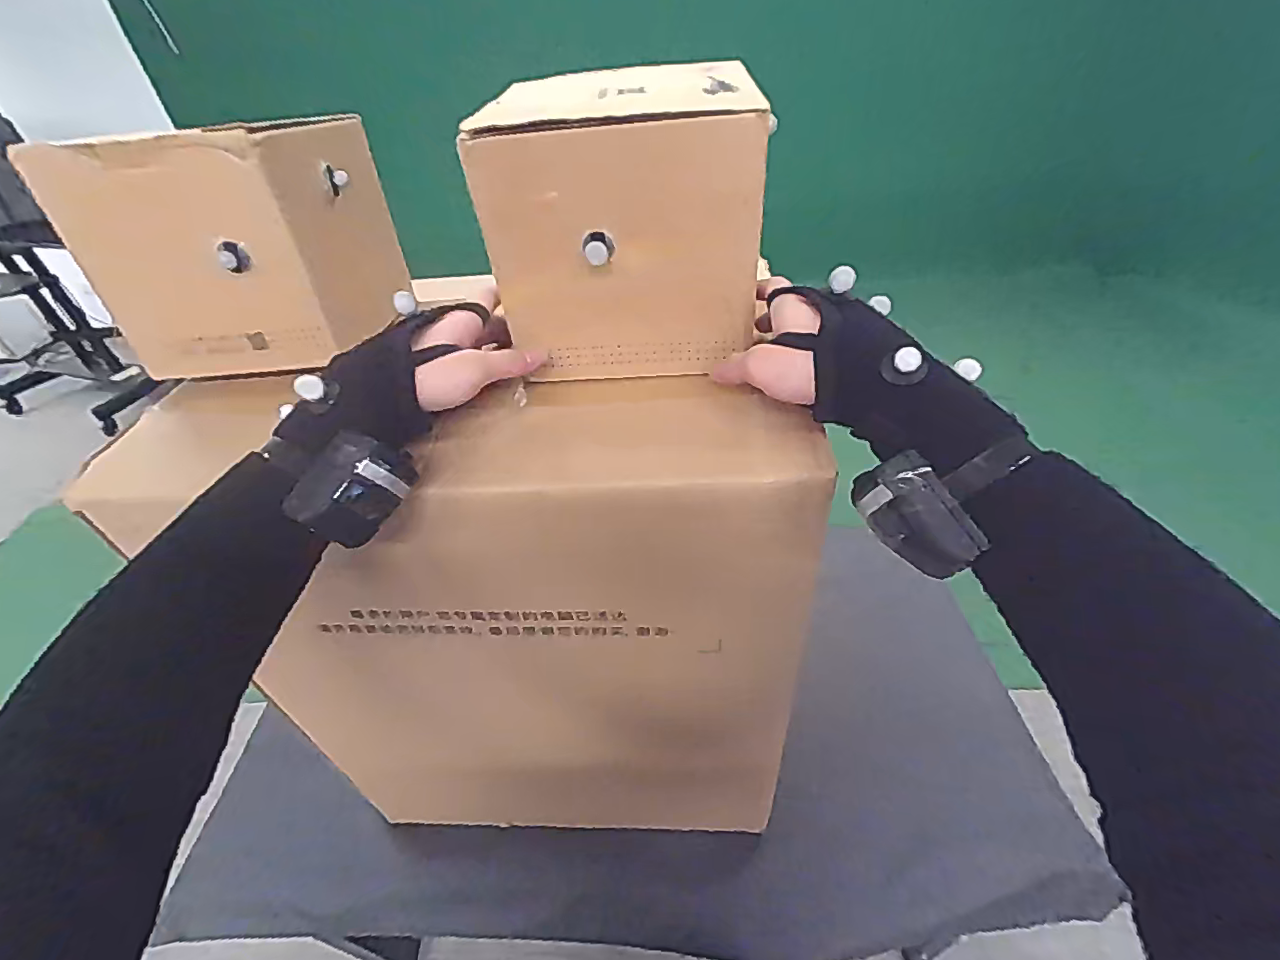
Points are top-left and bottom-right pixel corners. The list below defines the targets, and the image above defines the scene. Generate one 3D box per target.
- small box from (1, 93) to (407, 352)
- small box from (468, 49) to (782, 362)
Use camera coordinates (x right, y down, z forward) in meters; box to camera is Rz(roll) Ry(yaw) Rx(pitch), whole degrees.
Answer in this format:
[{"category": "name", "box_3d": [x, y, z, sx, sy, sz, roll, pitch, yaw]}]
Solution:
[{"category": "small box", "box_3d": [-0.318, -0.212, 0.450, 0.168, 0.176, 0.179, -3, 34, 1]}, {"category": "small box", "box_3d": [-0.001, -0.200, 0.403, 0.179, 0.176, 0.168, -2, 44, 4]}]
